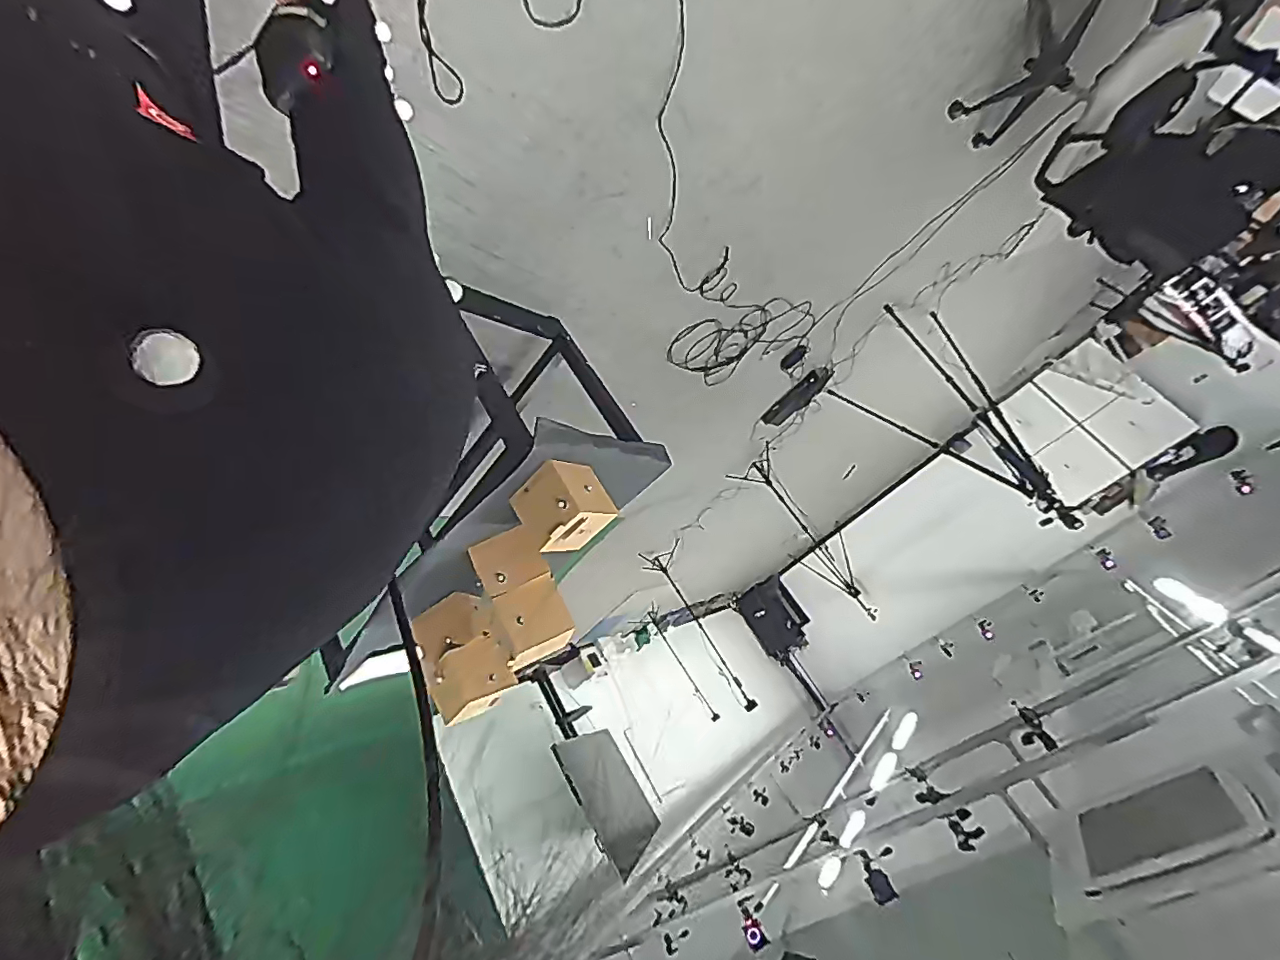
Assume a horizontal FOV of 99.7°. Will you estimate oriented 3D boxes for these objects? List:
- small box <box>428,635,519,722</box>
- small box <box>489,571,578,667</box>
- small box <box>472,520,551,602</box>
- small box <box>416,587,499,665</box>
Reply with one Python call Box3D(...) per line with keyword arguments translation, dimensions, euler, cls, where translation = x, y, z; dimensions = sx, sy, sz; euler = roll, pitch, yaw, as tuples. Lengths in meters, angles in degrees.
Box3D(translation=(-0.506, 0.592, 1.636), dimensions=(0.179, 0.176, 0.168), euler=(-3, 141, -52), cls="small box")
Box3D(translation=(-0.301, 0.380, 1.493), dimensions=(0.179, 0.176, 0.168), euler=(-20, 155, -32), cls="small box")
Box3D(translation=(-0.370, 0.245, 1.554), dimensions=(0.179, 0.176, 0.168), euler=(-25, 157, -21), cls="small box")
Box3D(translation=(-0.582, 0.466, 1.710), dimensions=(0.179, 0.176, 0.168), euler=(-34, 158, -2), cls="small box")
